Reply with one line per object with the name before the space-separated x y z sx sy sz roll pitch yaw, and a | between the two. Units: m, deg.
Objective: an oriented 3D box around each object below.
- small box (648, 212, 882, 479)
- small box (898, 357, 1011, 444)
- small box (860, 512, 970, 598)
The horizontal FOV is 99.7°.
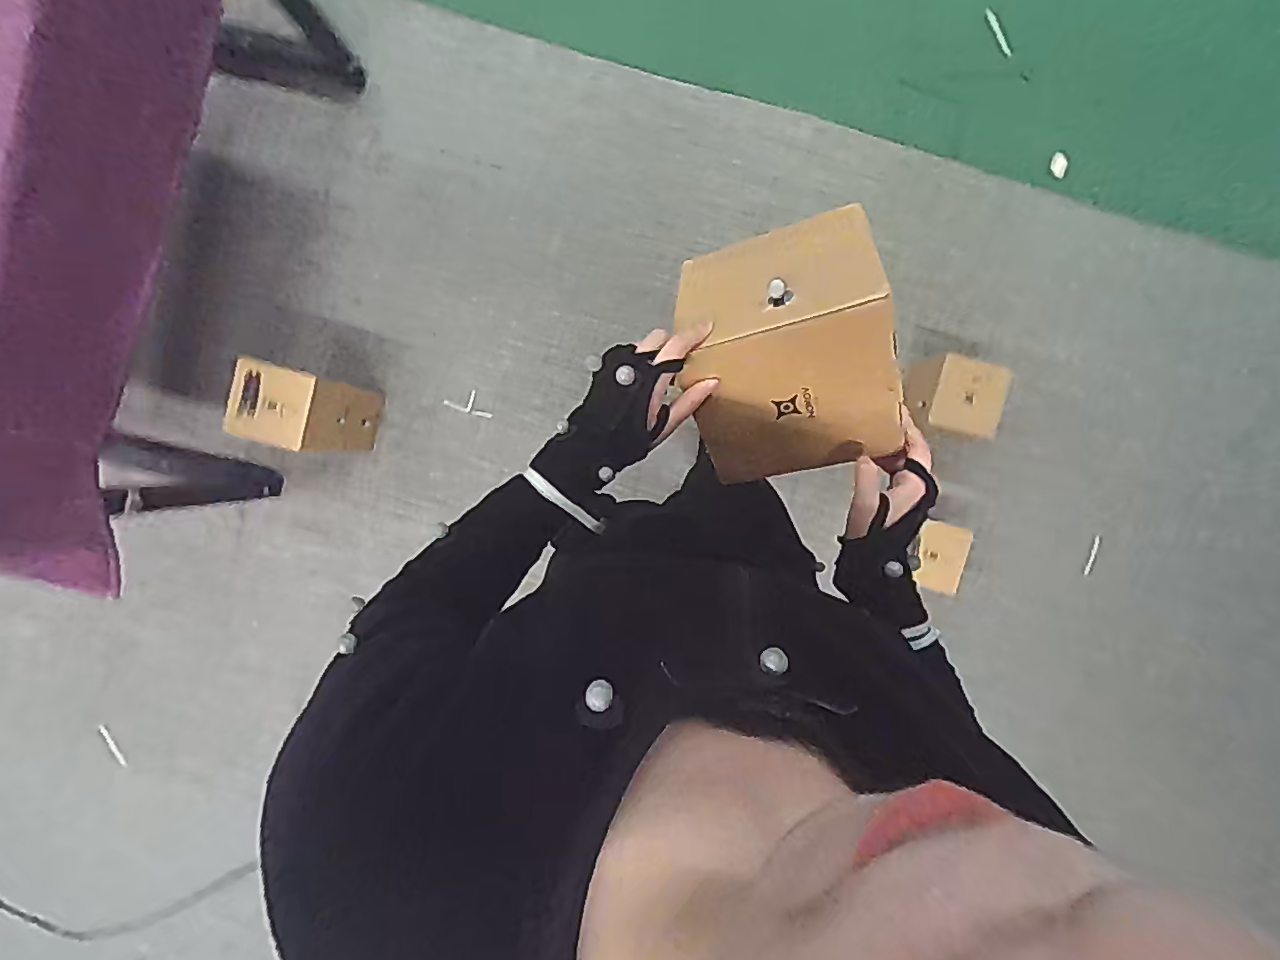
small box | 0.125 -0.129 0.534 0.179 0.176 0.168 -12 134 21
small box | 0.786 -0.194 1.373 0.168 0.176 0.179 16 93 0
small box | 0.697 0.184 1.392 0.179 0.176 0.168 17 93 0
